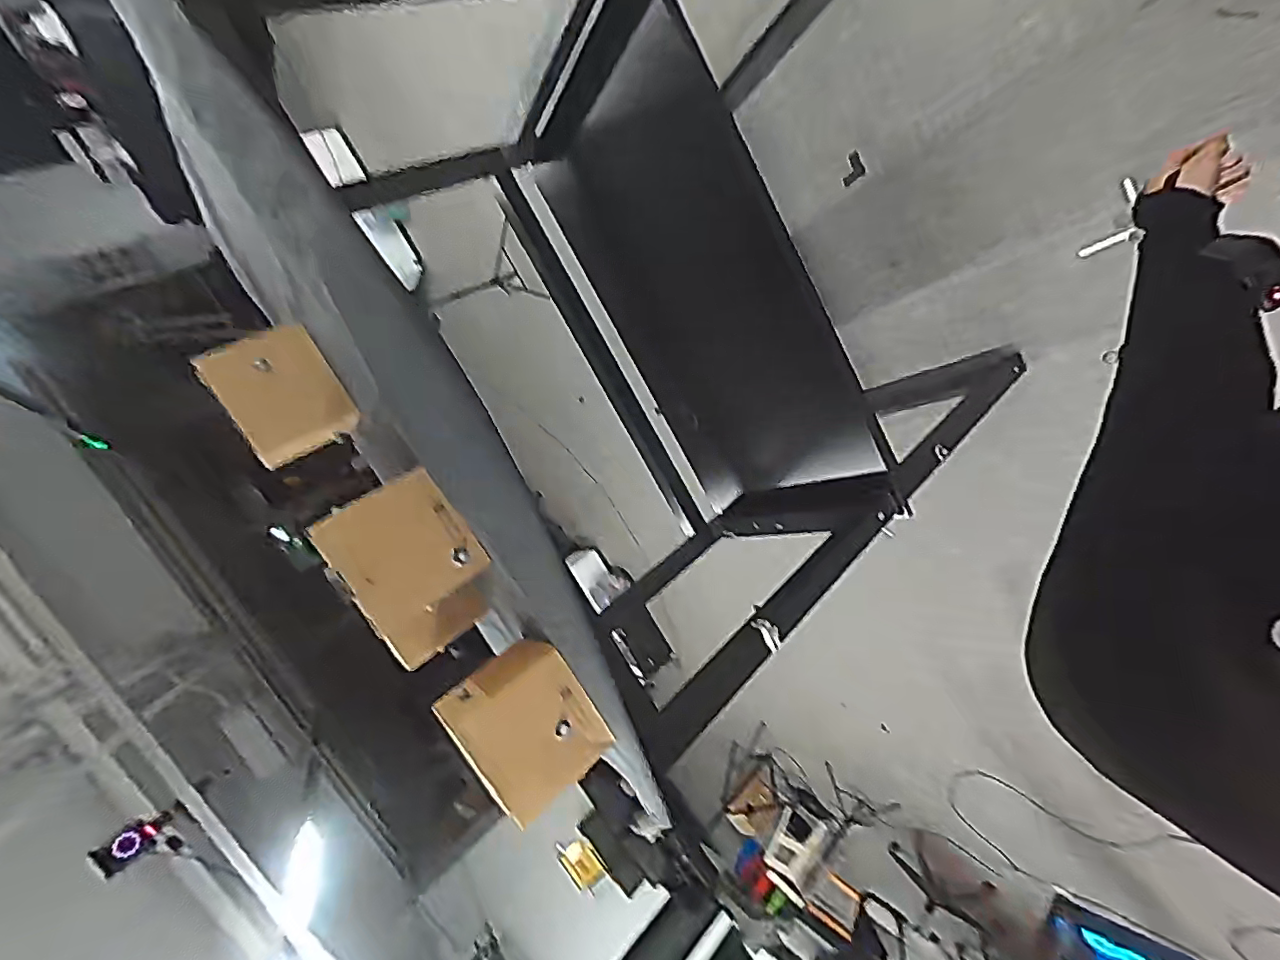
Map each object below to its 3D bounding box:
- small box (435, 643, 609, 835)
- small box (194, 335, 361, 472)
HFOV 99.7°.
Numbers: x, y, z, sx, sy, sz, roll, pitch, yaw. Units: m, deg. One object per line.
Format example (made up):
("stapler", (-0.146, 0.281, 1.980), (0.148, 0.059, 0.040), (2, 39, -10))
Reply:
("small box", (-0.172, 0.359, 0.791), (0.168, 0.176, 0.179), (58, 150, -6))
("small box", (-0.620, -0.135, 0.944), (0.168, 0.176, 0.179), (-10, 112, 60))
